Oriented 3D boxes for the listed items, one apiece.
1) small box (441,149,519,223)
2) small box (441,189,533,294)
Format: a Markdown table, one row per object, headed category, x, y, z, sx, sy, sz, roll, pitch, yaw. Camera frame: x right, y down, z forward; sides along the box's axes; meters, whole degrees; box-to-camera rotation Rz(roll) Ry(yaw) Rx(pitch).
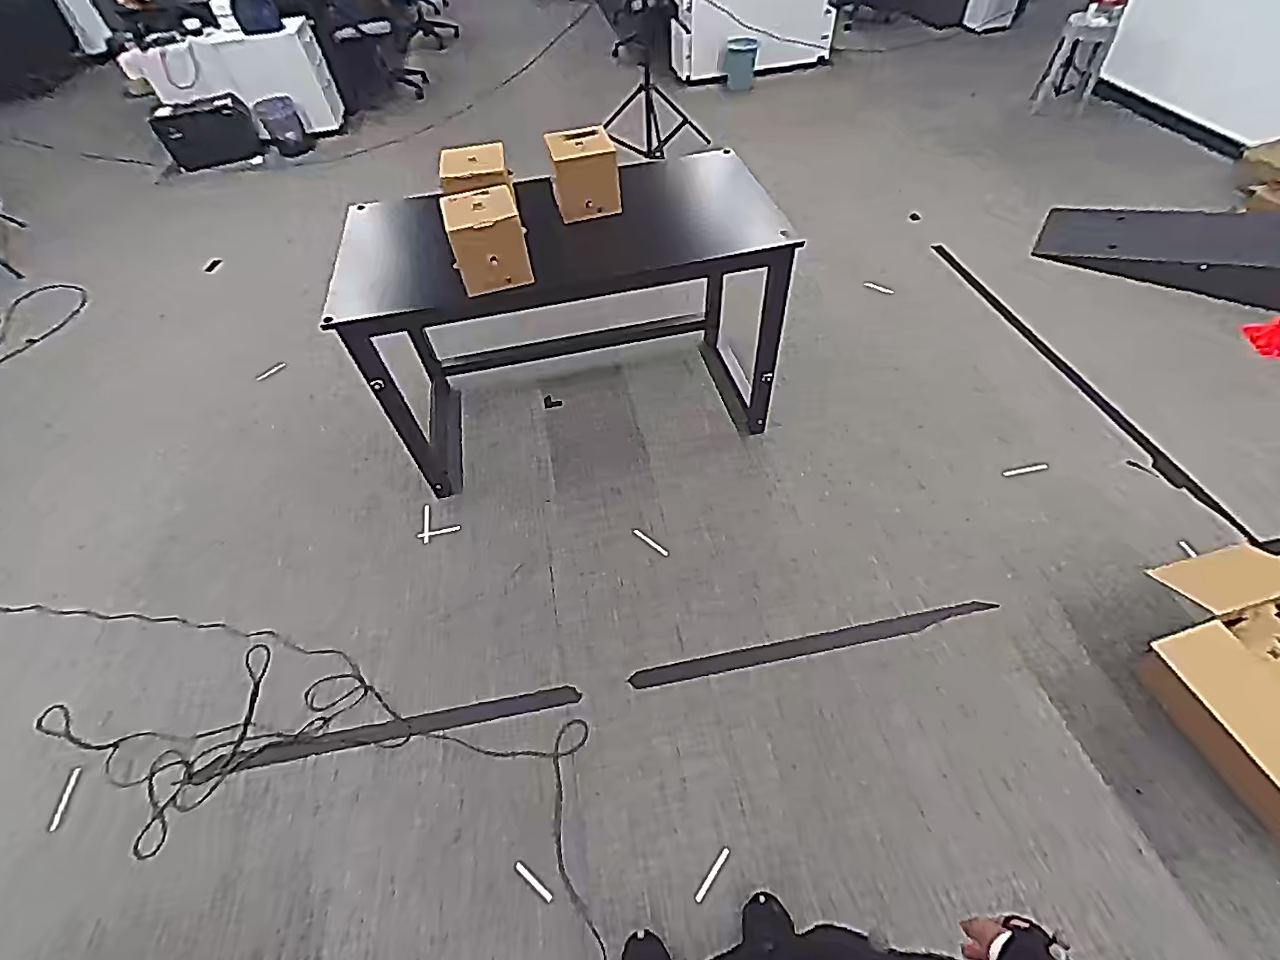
| category | x | y | z | sx | sy | sz | roll | pitch | yaw |
| --- | --- | --- | --- | --- | --- | --- | --- | --- | --- |
| small box | -0.434 | -0.779 | 1.486 | 0.168 | 0.176 | 0.179 | -11 | 53 | -4 |
| small box | -0.370 | -0.574 | 1.321 | 0.168 | 0.176 | 0.179 | -16 | 53 | -8 |
